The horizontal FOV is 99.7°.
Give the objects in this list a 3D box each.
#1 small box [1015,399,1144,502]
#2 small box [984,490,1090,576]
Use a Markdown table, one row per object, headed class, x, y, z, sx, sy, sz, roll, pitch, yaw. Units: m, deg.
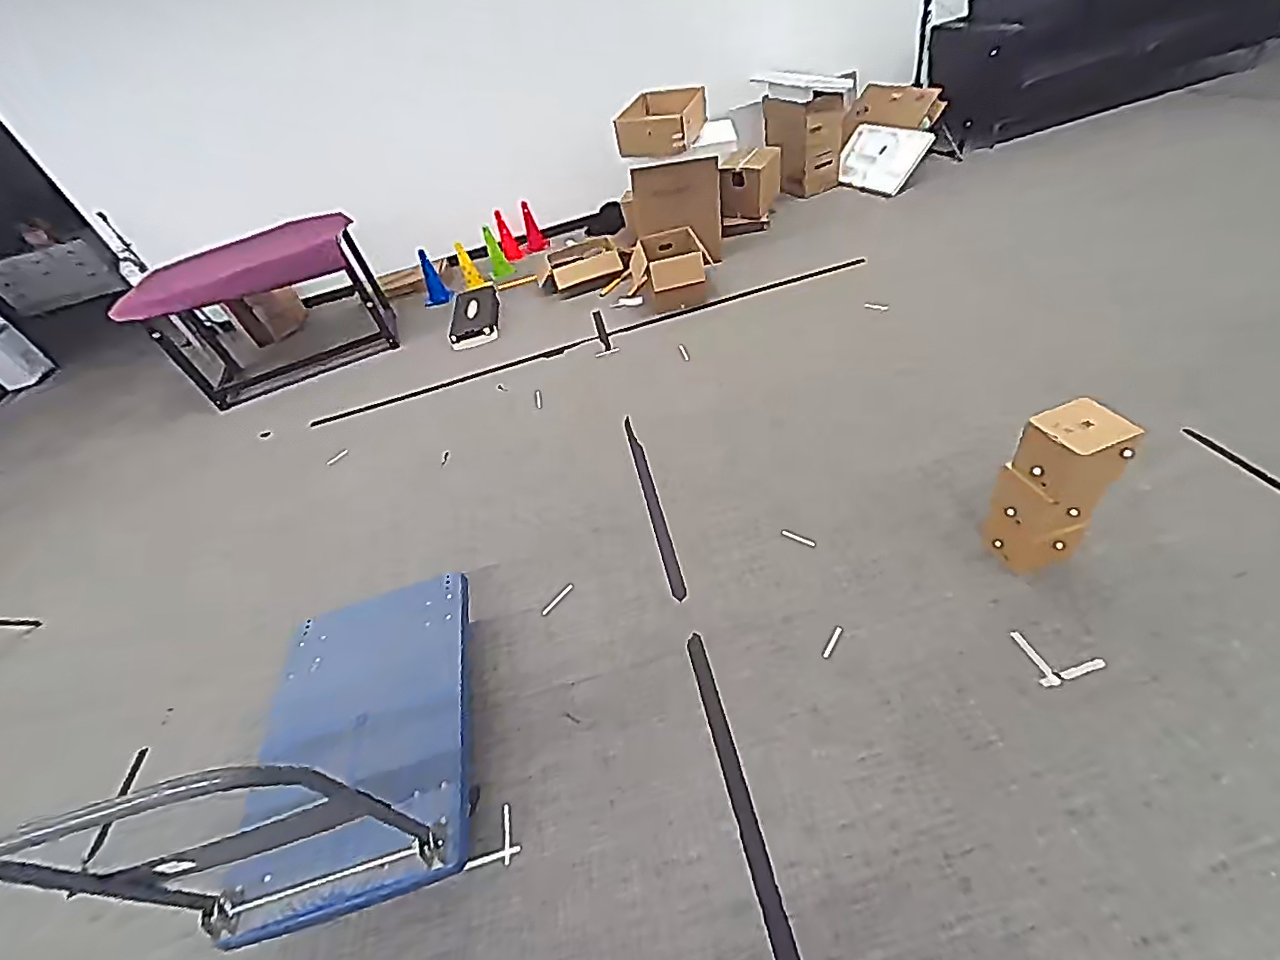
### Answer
| class | x | y | z | sx | sy | sz | roll | pitch | yaw |
| --- | --- | --- | --- | --- | --- | --- | --- | --- | --- |
| small box | 1.115 | -0.075 | 1.390 | 0.179 | 0.176 | 0.168 | -21 | 42 | -4 |
| small box | 1.175 | 0.158 | 1.616 | 0.179 | 0.176 | 0.168 | -18 | 43 | -2 |
